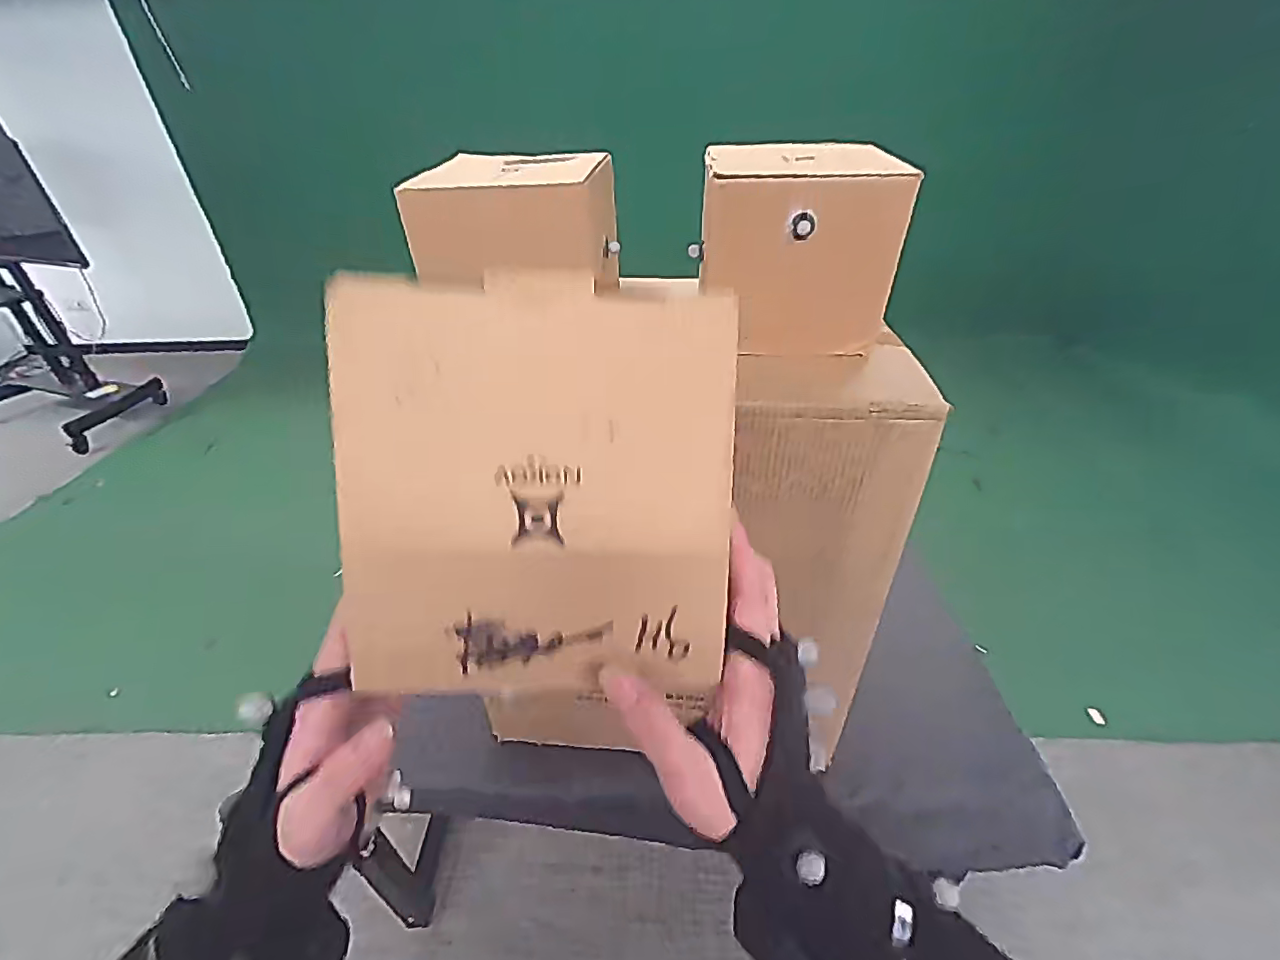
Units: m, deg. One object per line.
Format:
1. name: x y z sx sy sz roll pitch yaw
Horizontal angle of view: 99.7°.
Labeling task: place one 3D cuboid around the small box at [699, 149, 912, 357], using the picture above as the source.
1. small box: 0.151 -0.241 0.571 0.179 0.176 0.168 3 39 3

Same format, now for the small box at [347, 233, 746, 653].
1. small box: -0.048 -0.020 0.311 0.168 0.179 0.176 1 8 -6

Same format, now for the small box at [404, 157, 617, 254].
1. small box: -0.114 -0.231 0.570 0.168 0.176 0.179 1 38 5
